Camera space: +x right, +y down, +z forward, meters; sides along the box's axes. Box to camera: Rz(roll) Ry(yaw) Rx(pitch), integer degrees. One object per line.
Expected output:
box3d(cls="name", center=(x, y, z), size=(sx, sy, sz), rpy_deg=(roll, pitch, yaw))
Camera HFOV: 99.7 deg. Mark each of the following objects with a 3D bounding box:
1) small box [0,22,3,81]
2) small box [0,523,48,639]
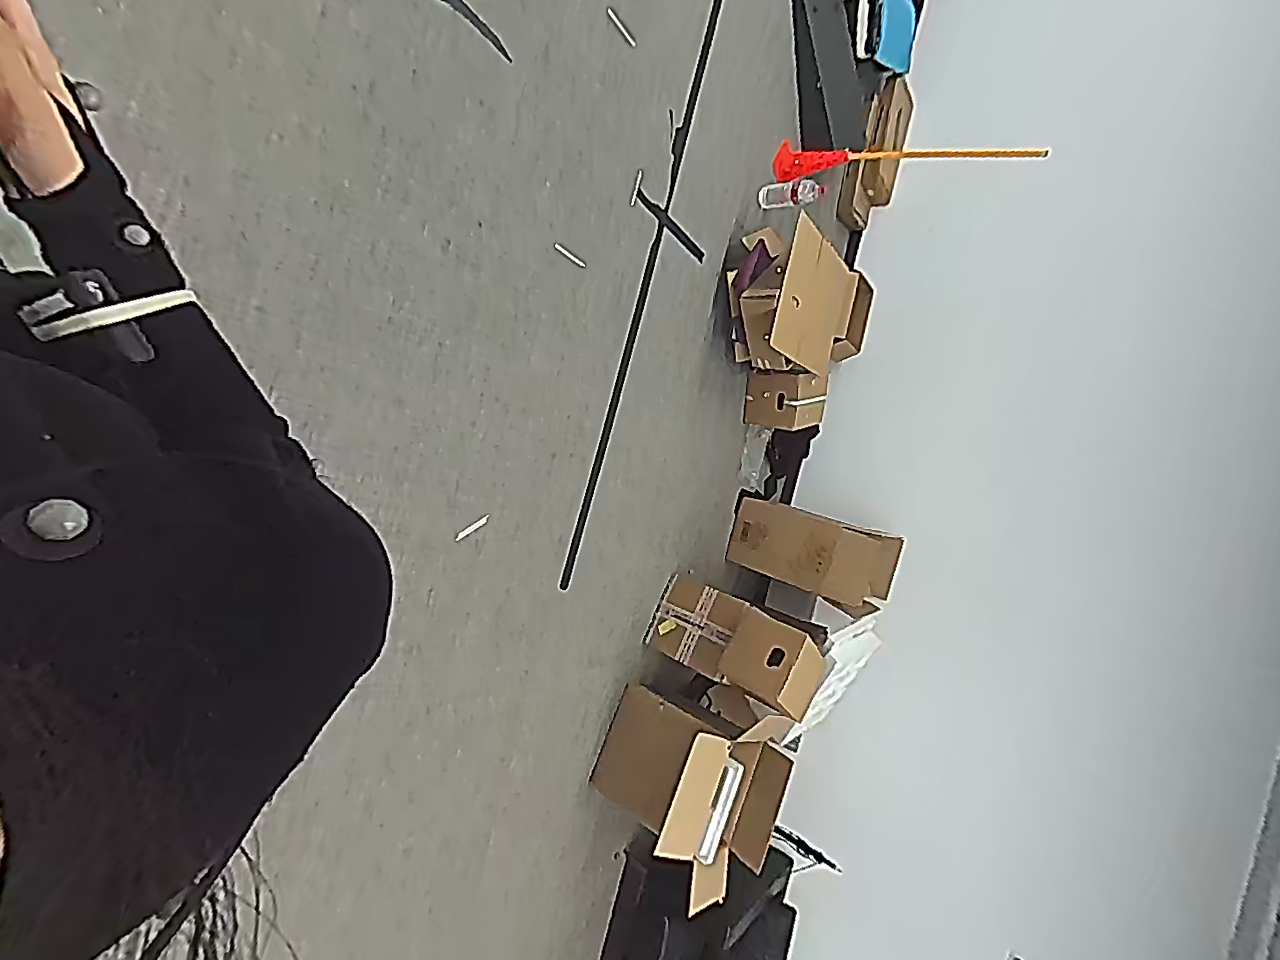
box3d(cls="small box", center=(-0.400, -0.244, 0.213), size=(0.168, 0.176, 0.179), rpy_deg=(-15, 91, -52))
box3d(cls="small box", center=(-1.176, 0.179, 0.942), size=(0.179, 0.176, 0.168), rpy_deg=(-4, 105, -52))
